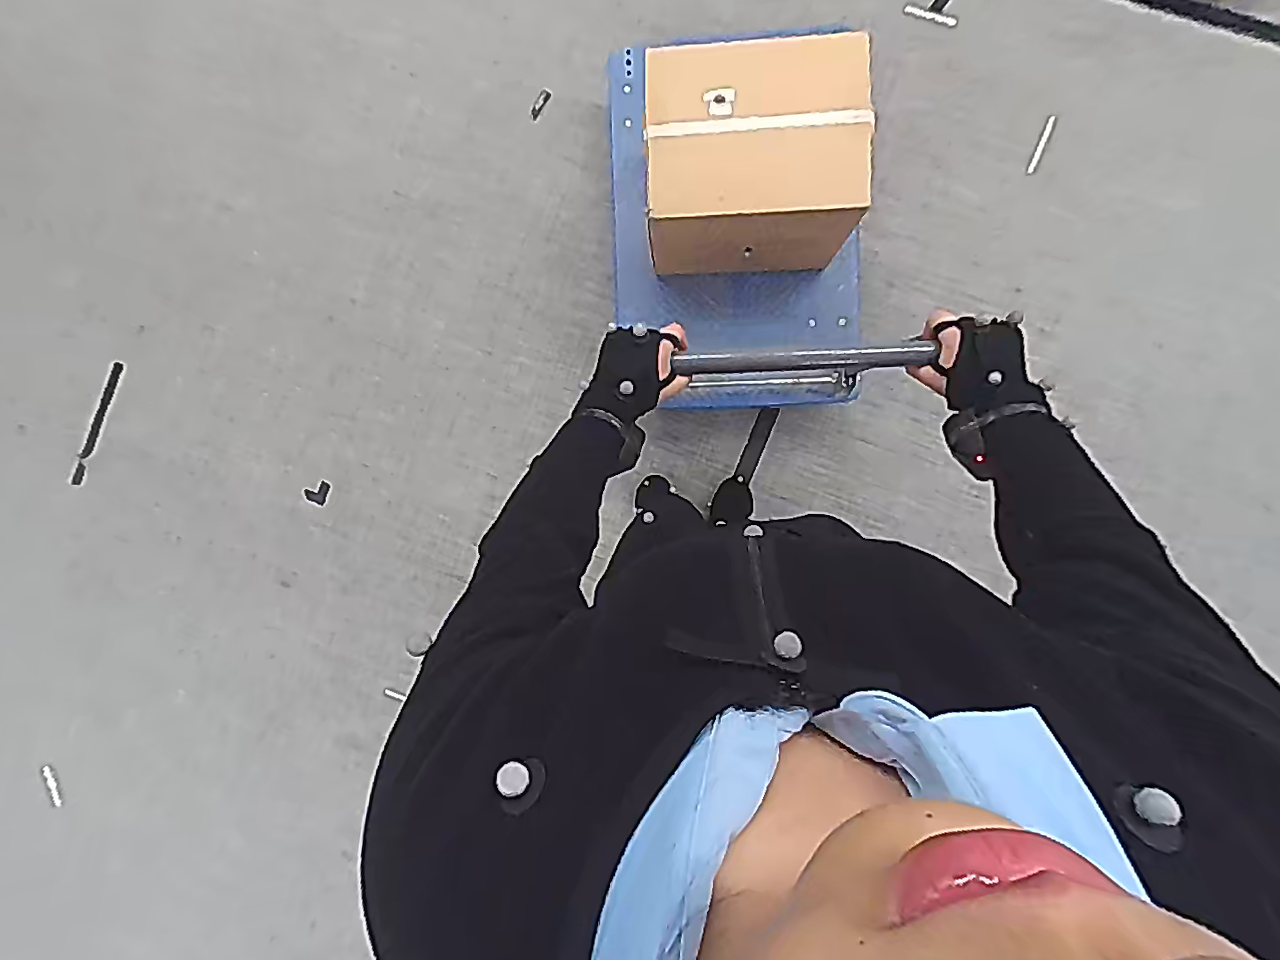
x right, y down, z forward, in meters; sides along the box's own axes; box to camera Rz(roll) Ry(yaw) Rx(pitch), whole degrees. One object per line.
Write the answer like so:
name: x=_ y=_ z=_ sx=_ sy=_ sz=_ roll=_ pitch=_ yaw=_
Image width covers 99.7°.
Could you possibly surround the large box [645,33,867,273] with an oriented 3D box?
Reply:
large box: x=0.228 y=-0.654 z=1.147 sx=0.408 sy=0.320 sz=0.320 roll=-1 pitch=90 yaw=6
